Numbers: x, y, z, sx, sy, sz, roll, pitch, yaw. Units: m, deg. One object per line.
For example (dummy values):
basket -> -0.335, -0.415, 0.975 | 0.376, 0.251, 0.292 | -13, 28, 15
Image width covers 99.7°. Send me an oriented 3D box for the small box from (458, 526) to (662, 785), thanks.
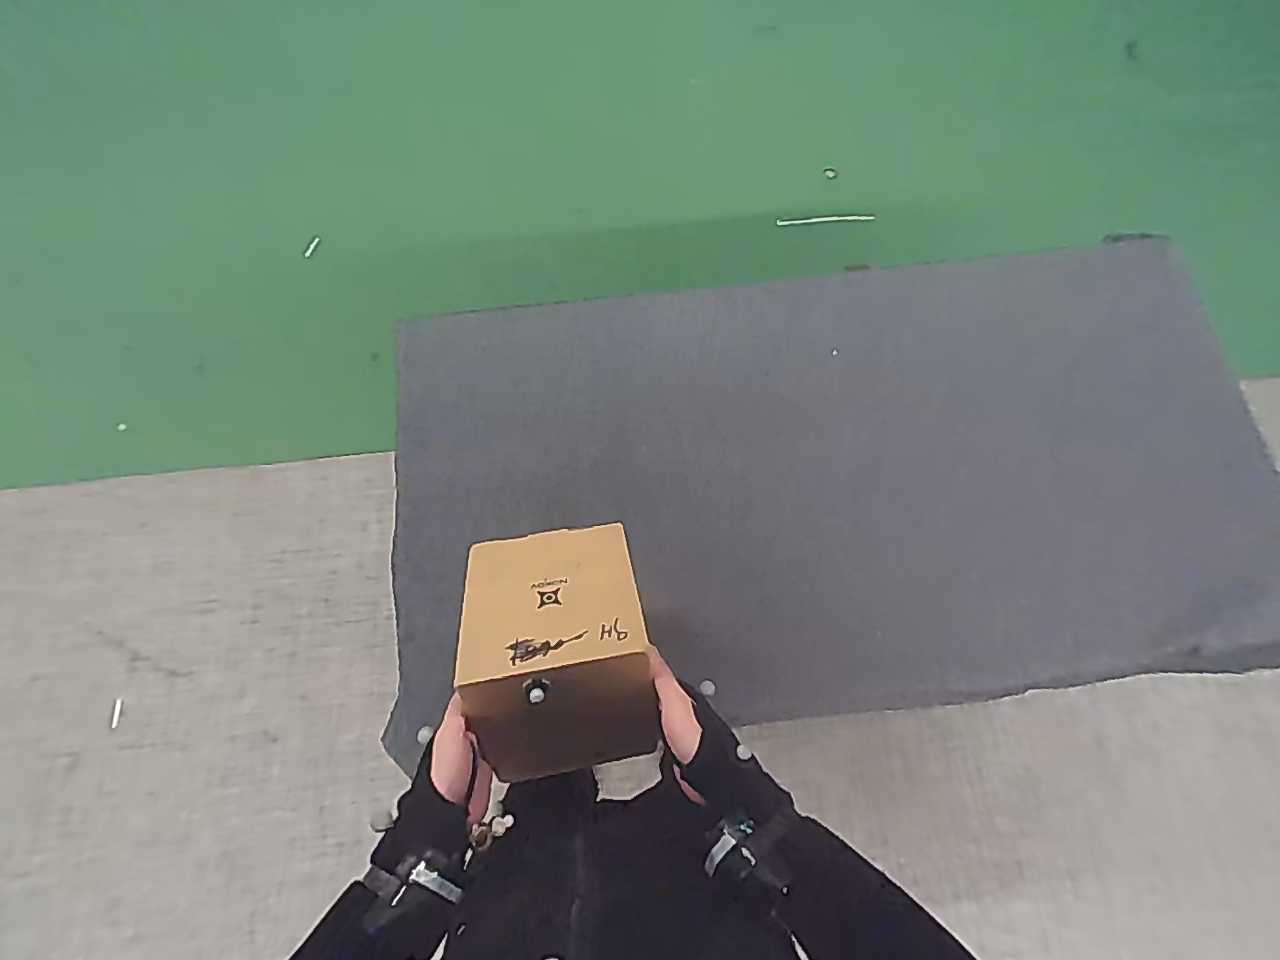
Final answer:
small box -> -0.076, 0.176, 0.561 | 0.168, 0.176, 0.179 | -10, 35, -5
